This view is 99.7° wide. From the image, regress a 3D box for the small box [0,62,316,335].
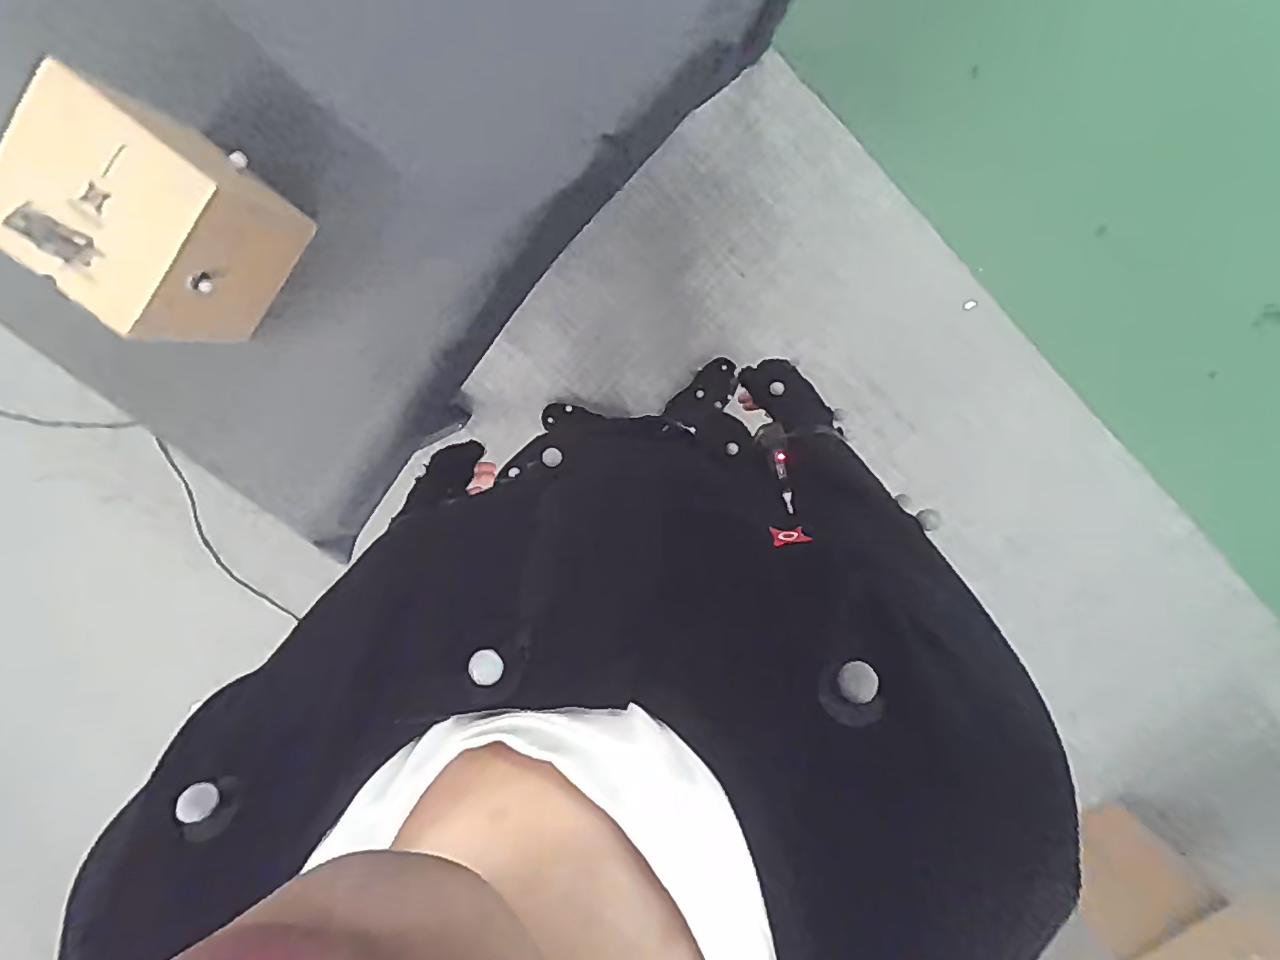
[{"bbox_3d":[-0.494,-0.271,0.577,0.168,0.176,0.179,38,99,-9],"label":"small box"}]
